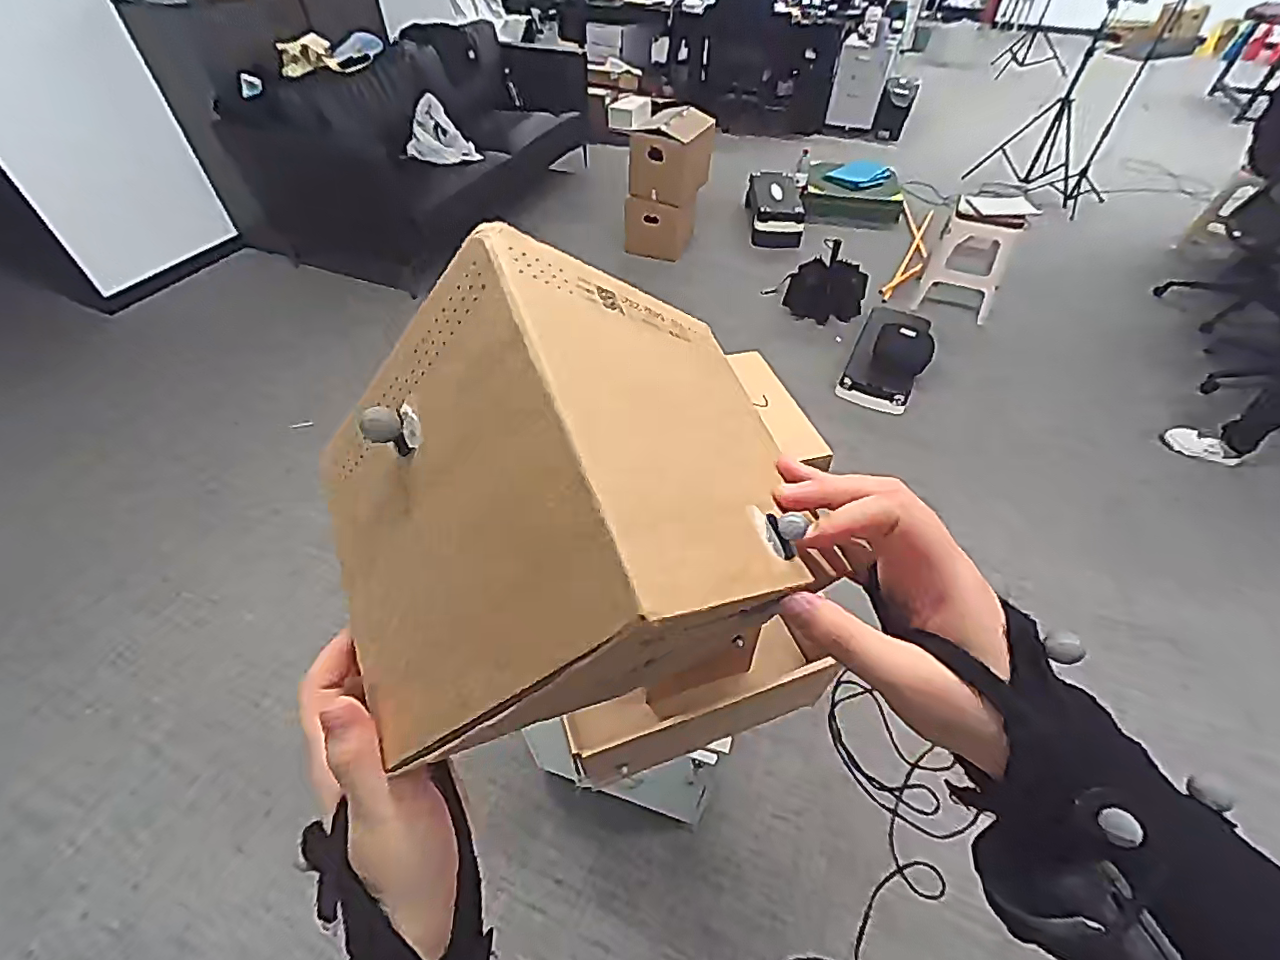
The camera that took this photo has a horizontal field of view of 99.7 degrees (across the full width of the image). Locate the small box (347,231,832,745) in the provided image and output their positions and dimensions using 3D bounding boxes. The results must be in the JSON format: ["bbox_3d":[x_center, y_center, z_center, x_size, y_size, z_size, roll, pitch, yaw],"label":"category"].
[{"bbox_3d":[-0.037,0.012,0.293,0.168,0.179,0.176,5,54,-51],"label":"small box"}]
